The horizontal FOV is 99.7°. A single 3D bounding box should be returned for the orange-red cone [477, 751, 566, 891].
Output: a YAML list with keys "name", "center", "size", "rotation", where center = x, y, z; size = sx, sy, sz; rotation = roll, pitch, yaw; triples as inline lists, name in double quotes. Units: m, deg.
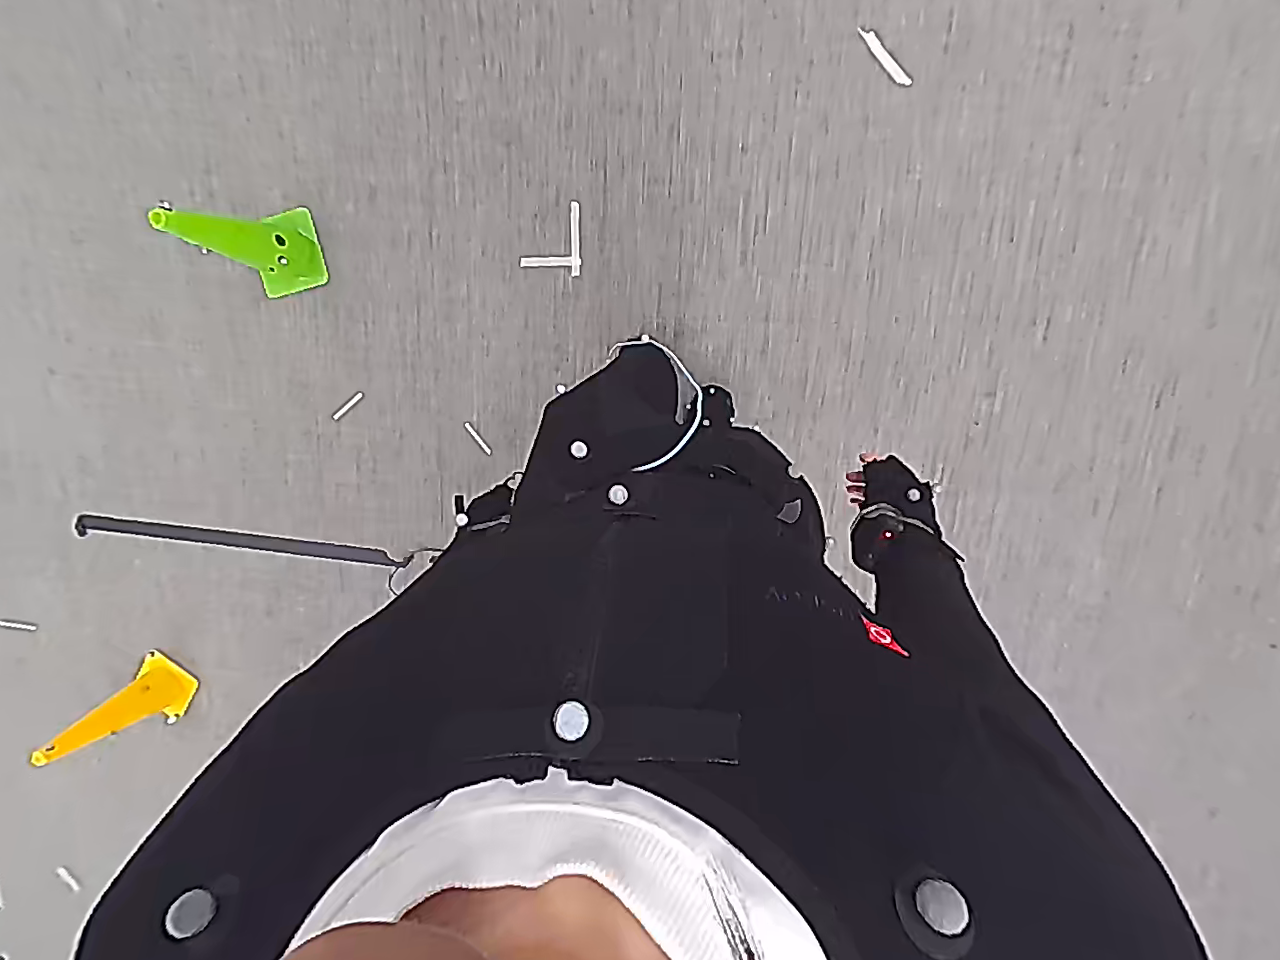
- name: "orange-red cone"
  center: [-0.365, 0.979, 1.518]
  size: [0.199, 0.360, 0.198]
  rotation: [12, 102, 7]

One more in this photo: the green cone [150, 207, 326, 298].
- name: "green cone"
  center: [-0.983, -0.577, 1.298]
  size: [0.202, 0.368, 0.200]
  rotation: [-11, 100, 10]
